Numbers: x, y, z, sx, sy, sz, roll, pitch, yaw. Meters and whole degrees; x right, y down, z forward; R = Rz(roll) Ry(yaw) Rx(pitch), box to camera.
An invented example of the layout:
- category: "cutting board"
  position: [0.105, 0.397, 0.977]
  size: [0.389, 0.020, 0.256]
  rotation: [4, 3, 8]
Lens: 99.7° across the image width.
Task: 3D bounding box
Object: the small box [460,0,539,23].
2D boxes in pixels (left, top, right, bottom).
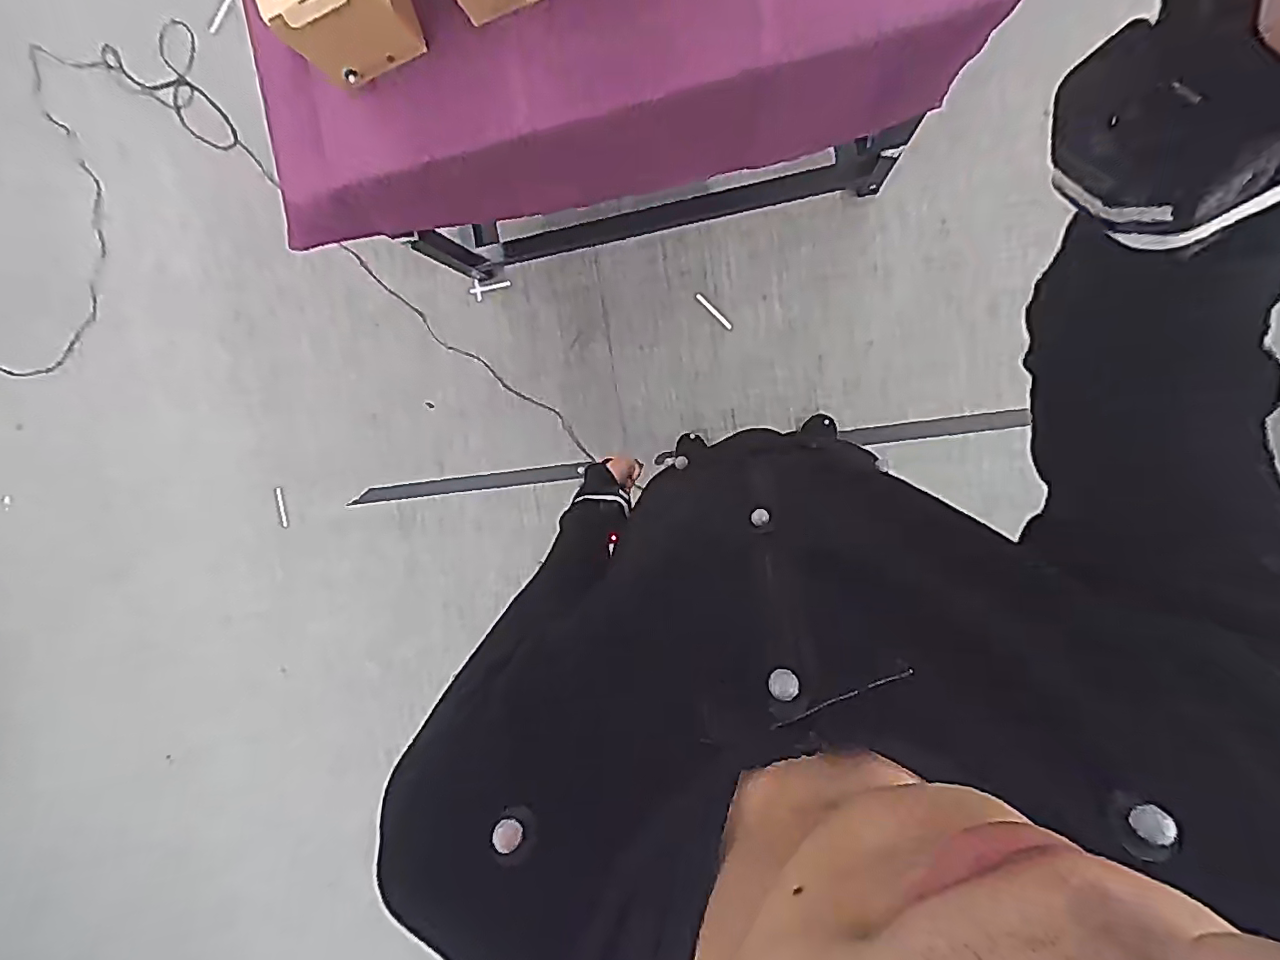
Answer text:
- category: "small box"
  position: [-0.230, -0.830, 0.781]
  size: [0.168, 0.176, 0.179]
  rotation: [-12, 94, 12]

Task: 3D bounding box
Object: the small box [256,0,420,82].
- category: "small box"
  position: [-0.472, -0.763, 0.833]
  size: [0.168, 0.176, 0.179]
  rotation: [-17, 93, 11]
